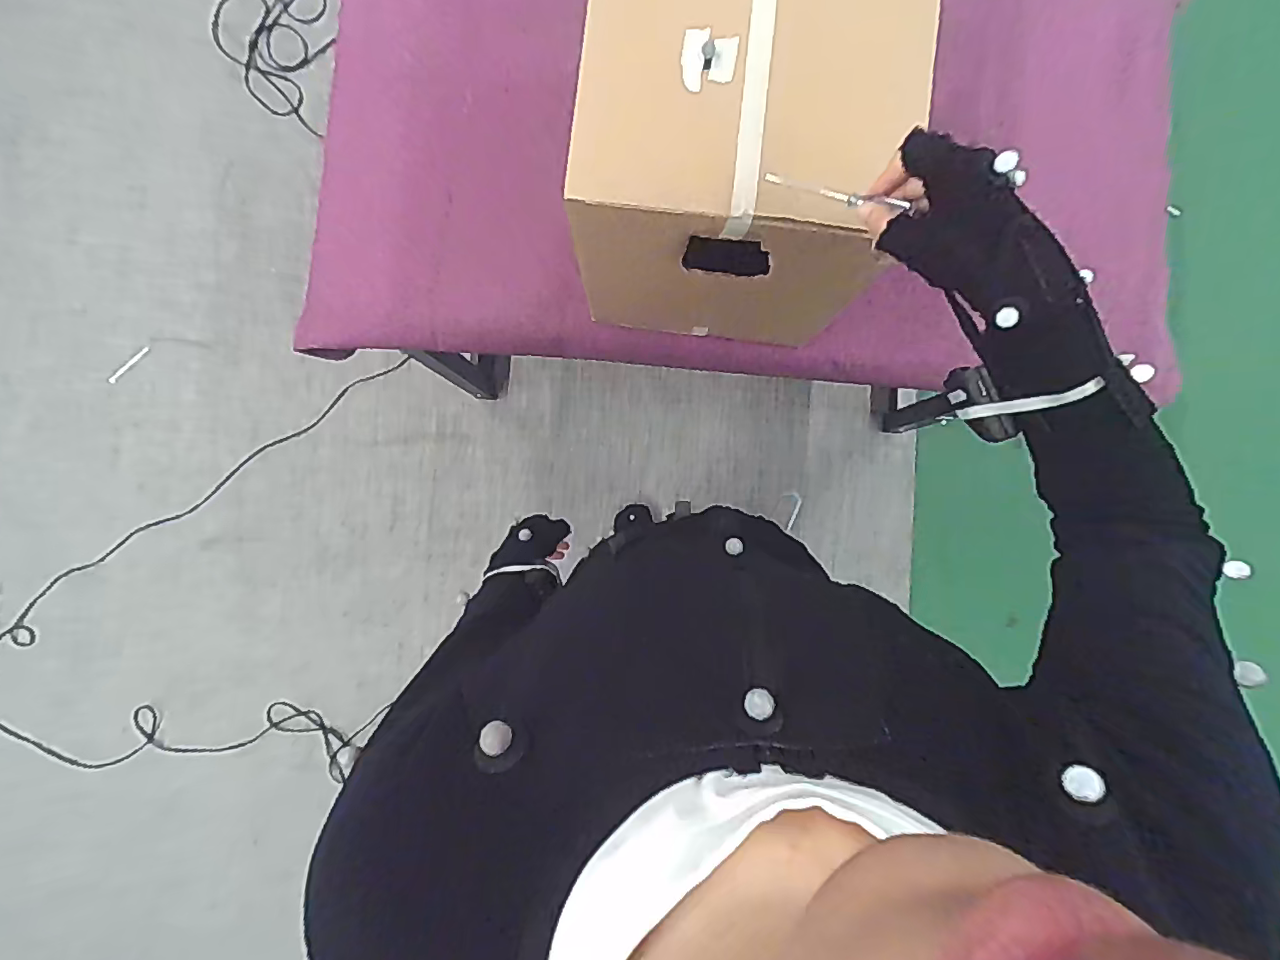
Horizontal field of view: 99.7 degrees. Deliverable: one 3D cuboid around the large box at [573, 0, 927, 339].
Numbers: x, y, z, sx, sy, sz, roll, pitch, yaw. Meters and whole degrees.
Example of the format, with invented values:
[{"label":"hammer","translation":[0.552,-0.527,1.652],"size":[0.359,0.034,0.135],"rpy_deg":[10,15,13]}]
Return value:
[{"label":"large box","translation":[0.108,-0.424,0.645],"size":[0.320,0.320,0.408],"rpy_deg":[7,88,0]}]
